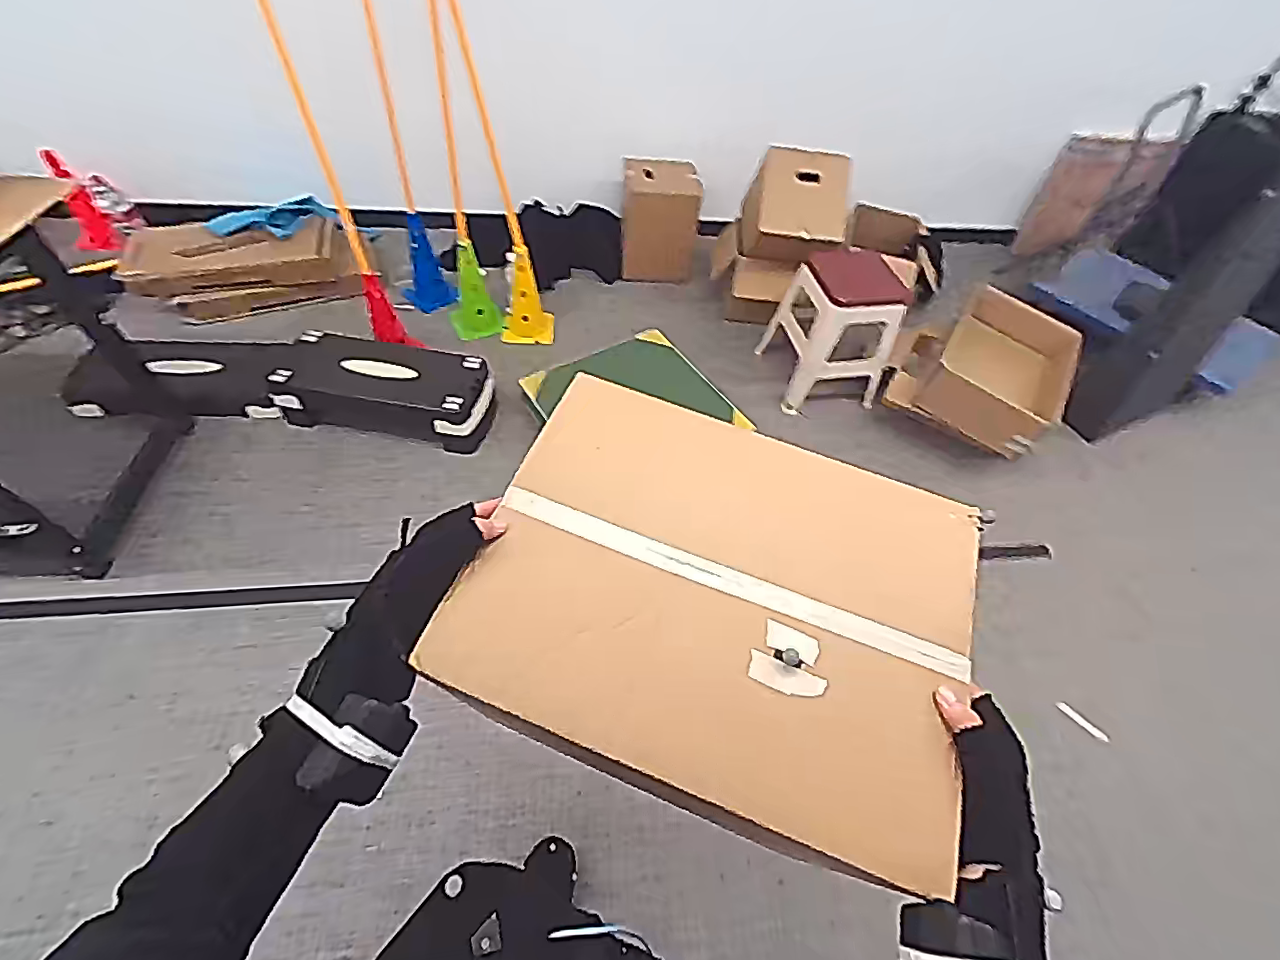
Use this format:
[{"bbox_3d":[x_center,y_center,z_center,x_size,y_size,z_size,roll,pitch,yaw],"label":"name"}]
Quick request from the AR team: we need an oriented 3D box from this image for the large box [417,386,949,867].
[{"bbox_3d":[0.050,0.158,0.595,0.408,0.320,0.320,19,61,7],"label":"large box"}]
